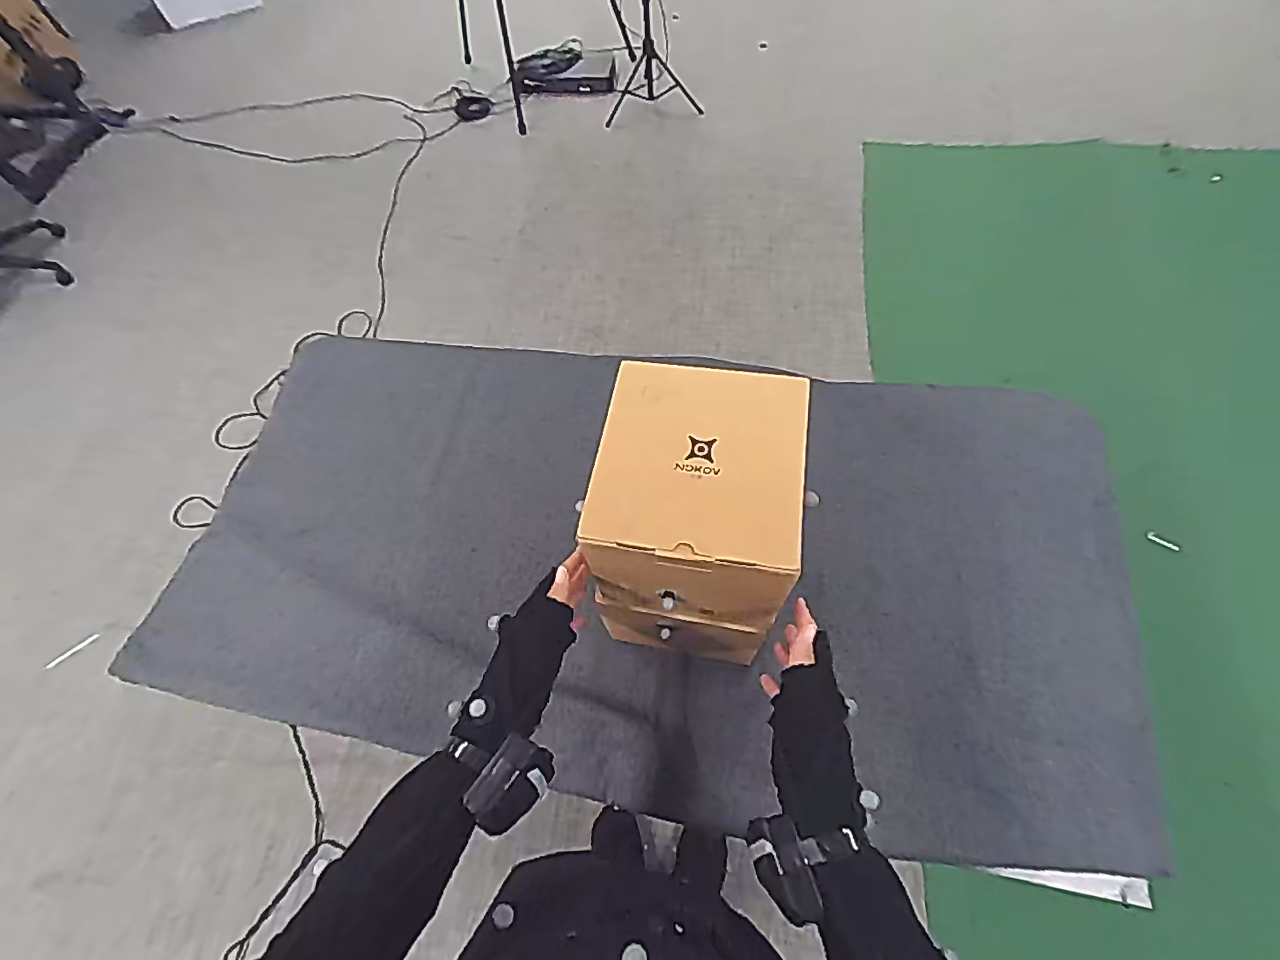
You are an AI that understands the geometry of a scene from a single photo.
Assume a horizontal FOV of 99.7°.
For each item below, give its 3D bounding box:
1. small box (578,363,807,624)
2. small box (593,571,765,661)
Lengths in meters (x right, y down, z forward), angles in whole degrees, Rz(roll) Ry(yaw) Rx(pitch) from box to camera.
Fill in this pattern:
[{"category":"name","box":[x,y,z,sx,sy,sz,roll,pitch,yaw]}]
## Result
[{"category":"small box","box":[0.052,0.019,0.504,0.168,0.176,0.179,7,63,8]},{"category":"small box","box":[0.058,0.106,0.642,0.179,0.176,0.168,9,63,9]}]
